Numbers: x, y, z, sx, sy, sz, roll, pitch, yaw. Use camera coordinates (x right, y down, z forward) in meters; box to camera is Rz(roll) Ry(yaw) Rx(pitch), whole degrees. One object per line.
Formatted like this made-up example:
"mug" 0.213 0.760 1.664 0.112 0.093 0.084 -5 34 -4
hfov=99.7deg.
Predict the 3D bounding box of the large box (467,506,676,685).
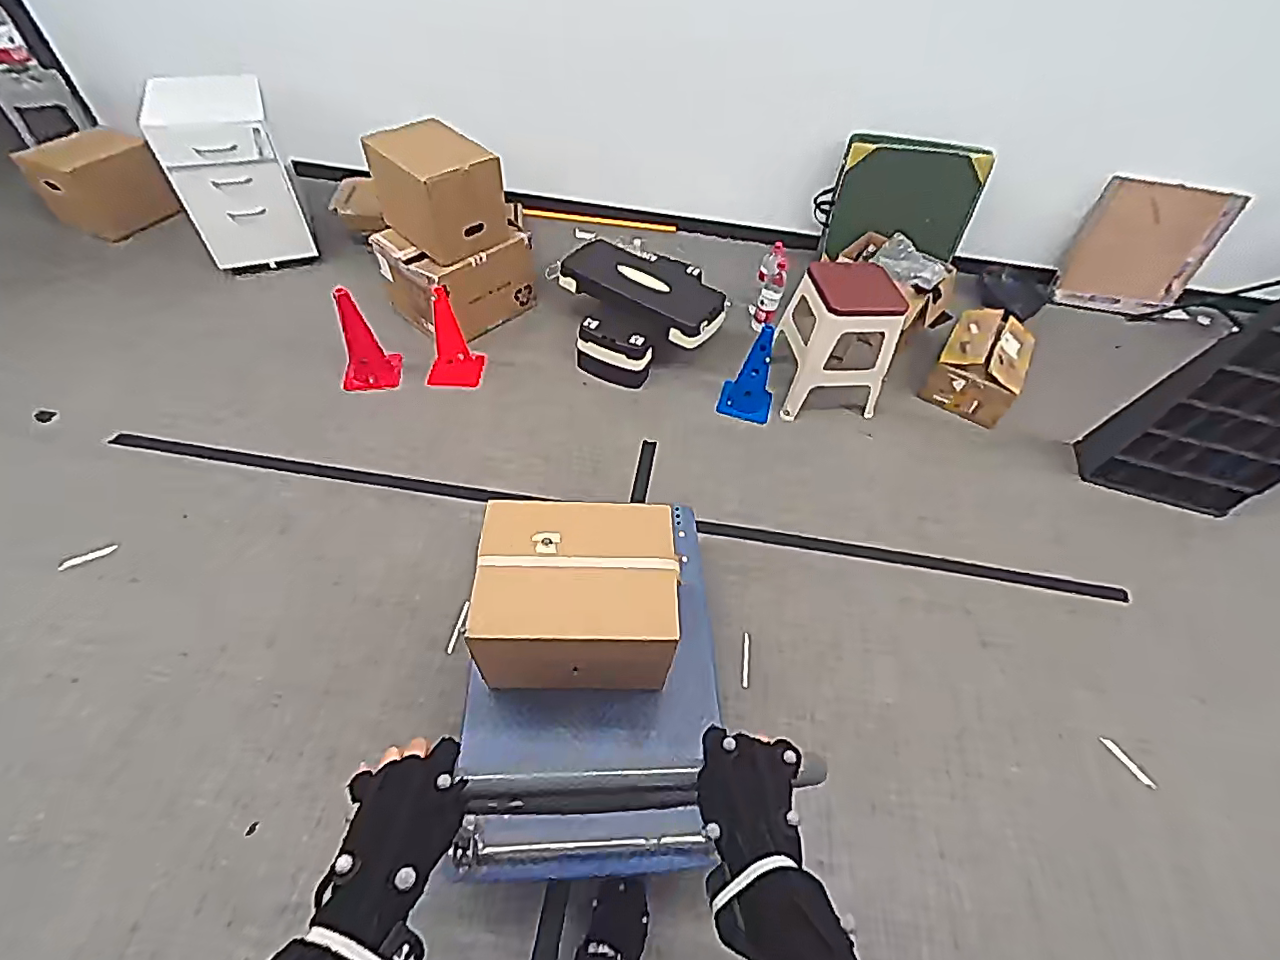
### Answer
"large box" -0.138 0.270 1.235 0.408 0.320 0.320 2 52 -3
